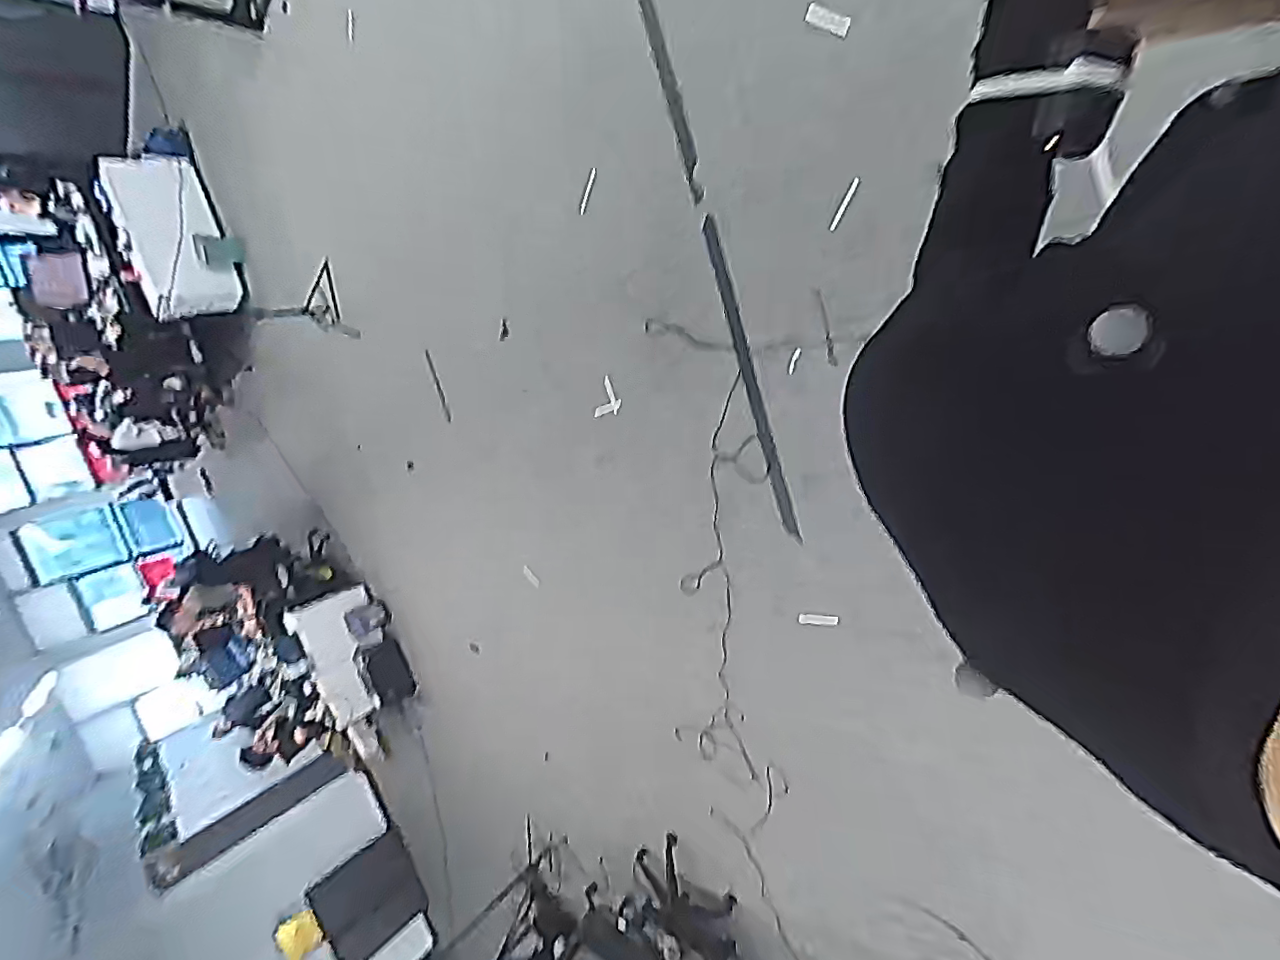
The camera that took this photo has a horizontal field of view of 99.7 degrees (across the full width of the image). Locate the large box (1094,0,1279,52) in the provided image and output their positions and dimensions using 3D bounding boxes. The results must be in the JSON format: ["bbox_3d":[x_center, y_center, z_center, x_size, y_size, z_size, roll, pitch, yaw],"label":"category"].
[{"bbox_3d":[0.539,-0.465,0.277,0.408,0.320,0.320,19,128,36],"label":"large box"}]
